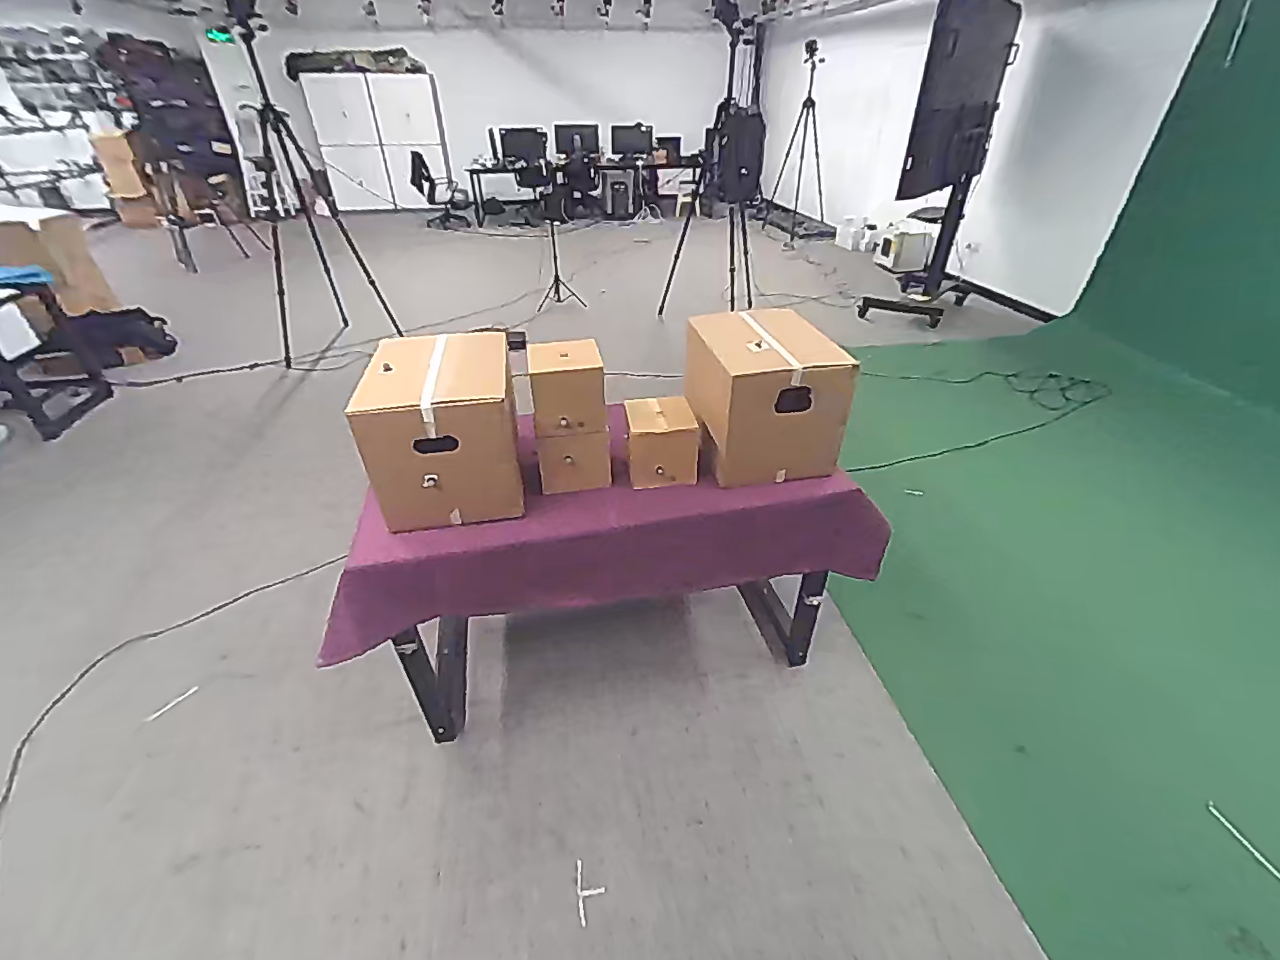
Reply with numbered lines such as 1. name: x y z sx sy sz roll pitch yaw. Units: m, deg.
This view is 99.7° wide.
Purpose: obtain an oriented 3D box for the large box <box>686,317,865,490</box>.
1. large box: 0.329 -0.221 1.462 0.320 0.320 0.408 -6 36 -8
